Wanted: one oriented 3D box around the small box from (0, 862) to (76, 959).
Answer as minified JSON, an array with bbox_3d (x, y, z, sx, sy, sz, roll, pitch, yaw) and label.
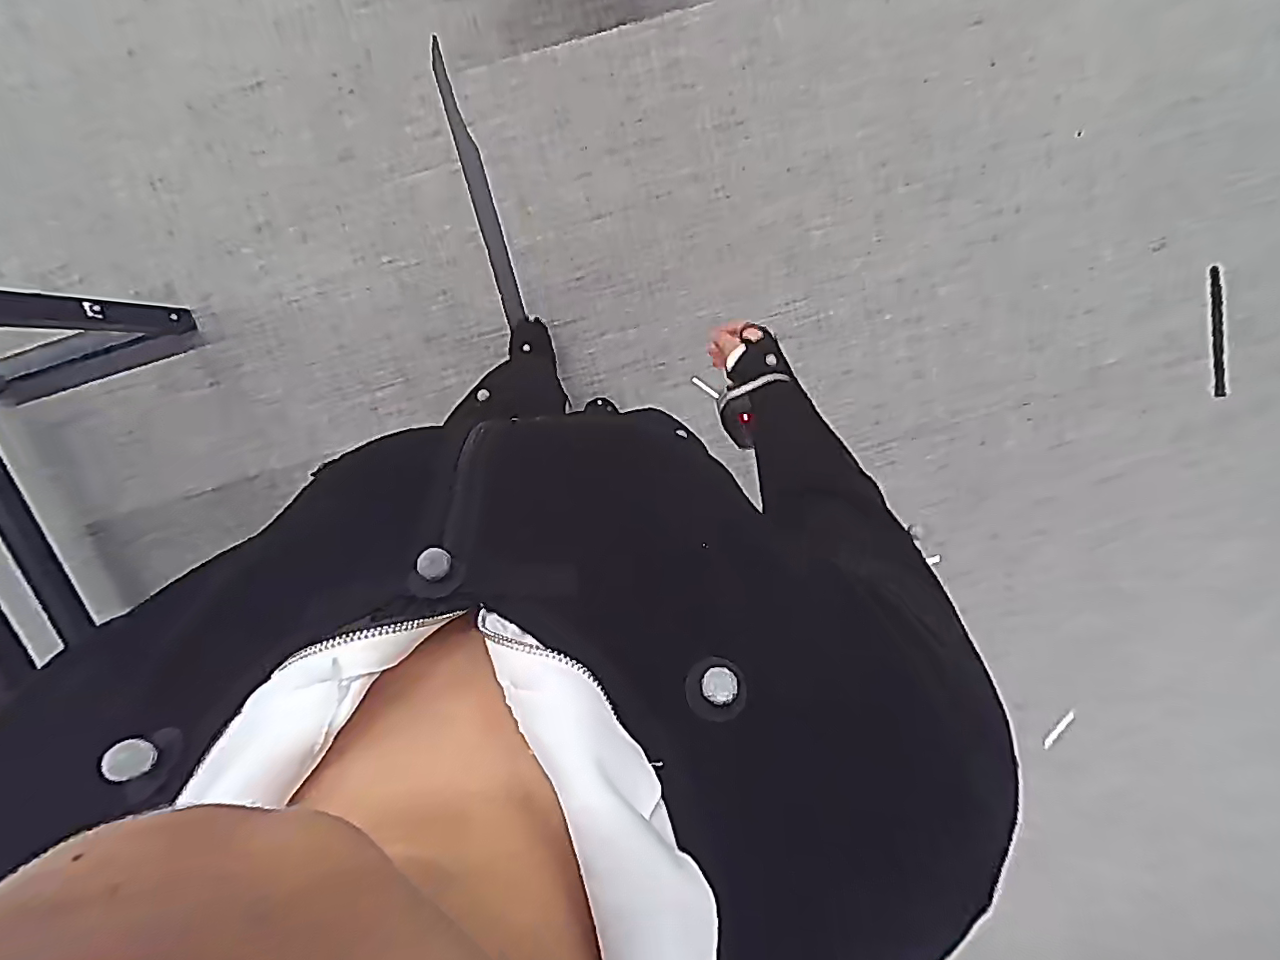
[{"bbox_3d":[-0.998,0.706,0.779,0.168,0.176,0.179,-18,103,2],"label":"small box"}]
